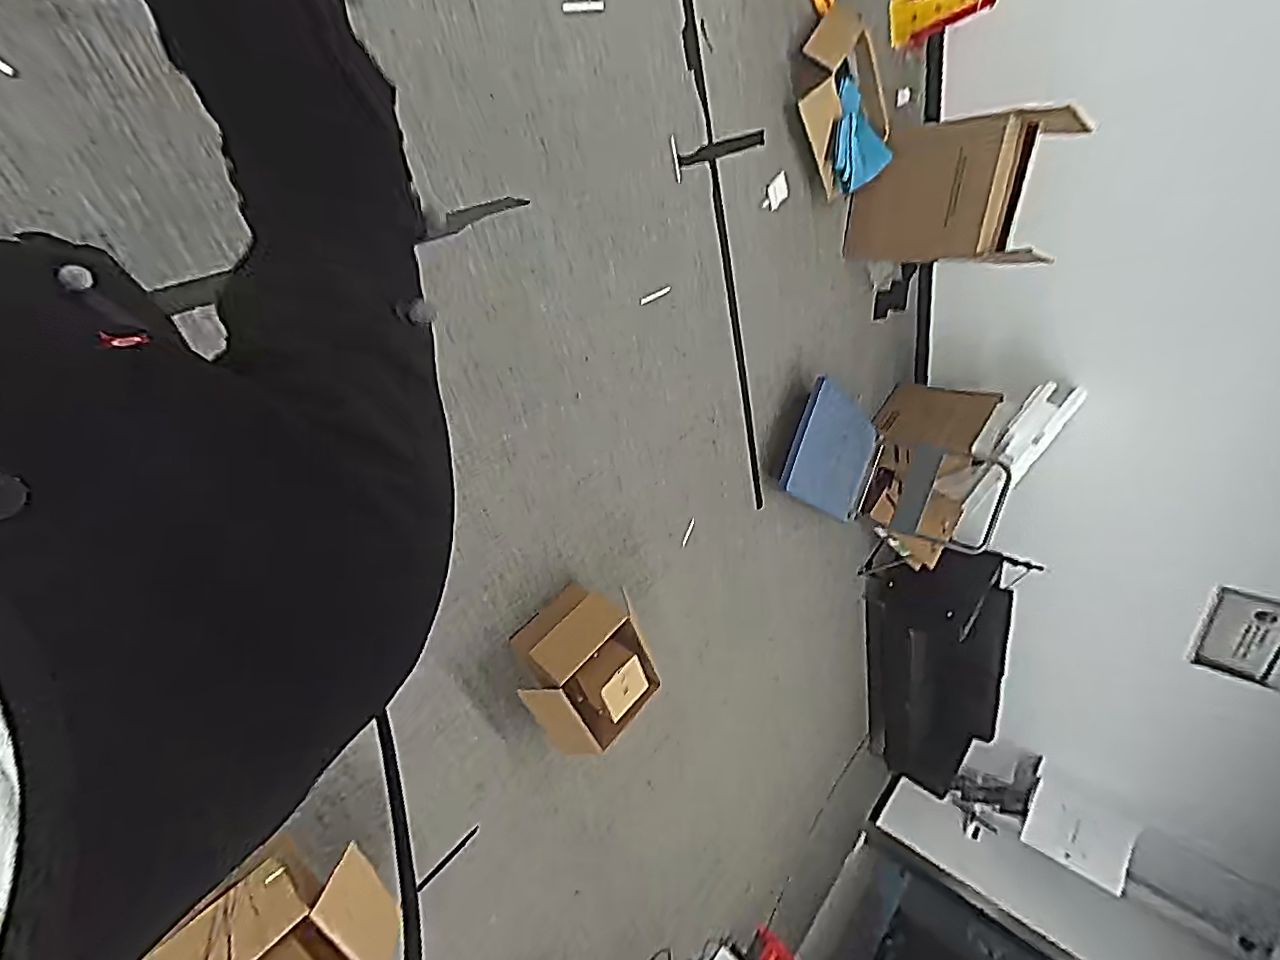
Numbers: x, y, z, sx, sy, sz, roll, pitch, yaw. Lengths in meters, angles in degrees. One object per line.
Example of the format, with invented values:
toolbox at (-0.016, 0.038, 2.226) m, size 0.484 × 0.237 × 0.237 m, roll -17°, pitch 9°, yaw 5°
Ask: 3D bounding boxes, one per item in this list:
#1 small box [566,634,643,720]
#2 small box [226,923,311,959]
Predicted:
small box at (-0.119, 0.650, 1.804) m, size 0.168 × 0.176 × 0.179 m, roll -39°, pitch 128°, yaw -31°
small box at (-0.847, 1.161, 1.219) m, size 0.168 × 0.176 × 0.179 m, roll -28°, pitch 124°, yaw -34°
